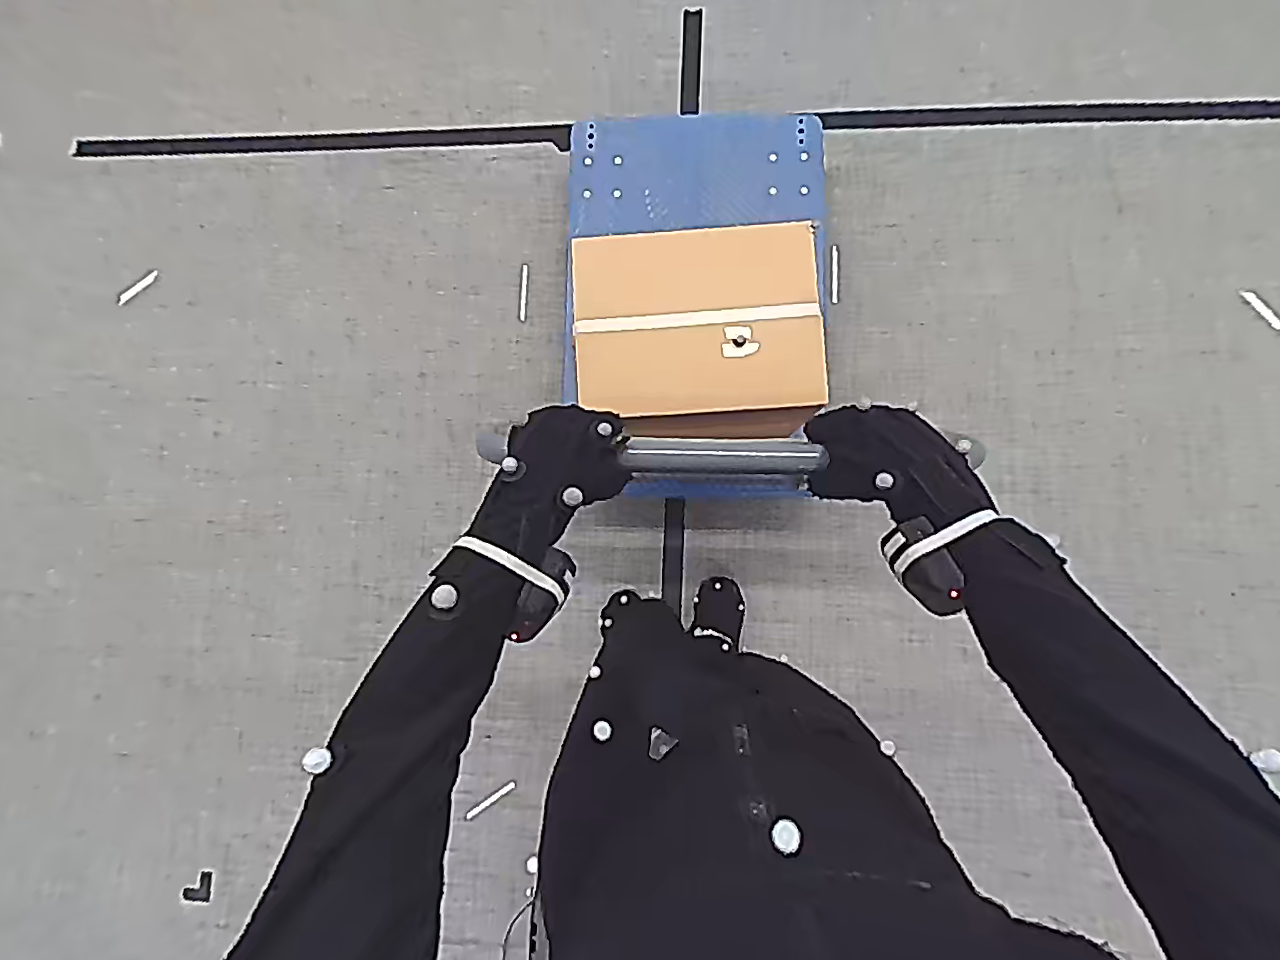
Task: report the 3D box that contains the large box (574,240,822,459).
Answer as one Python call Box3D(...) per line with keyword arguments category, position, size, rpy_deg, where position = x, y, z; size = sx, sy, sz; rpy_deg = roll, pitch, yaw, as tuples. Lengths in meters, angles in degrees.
Box3D(category="large box", position=(0.097, -0.227, 1.059), size=(0.408, 0.320, 0.320), rpy_deg=(-4, 84, 2))
